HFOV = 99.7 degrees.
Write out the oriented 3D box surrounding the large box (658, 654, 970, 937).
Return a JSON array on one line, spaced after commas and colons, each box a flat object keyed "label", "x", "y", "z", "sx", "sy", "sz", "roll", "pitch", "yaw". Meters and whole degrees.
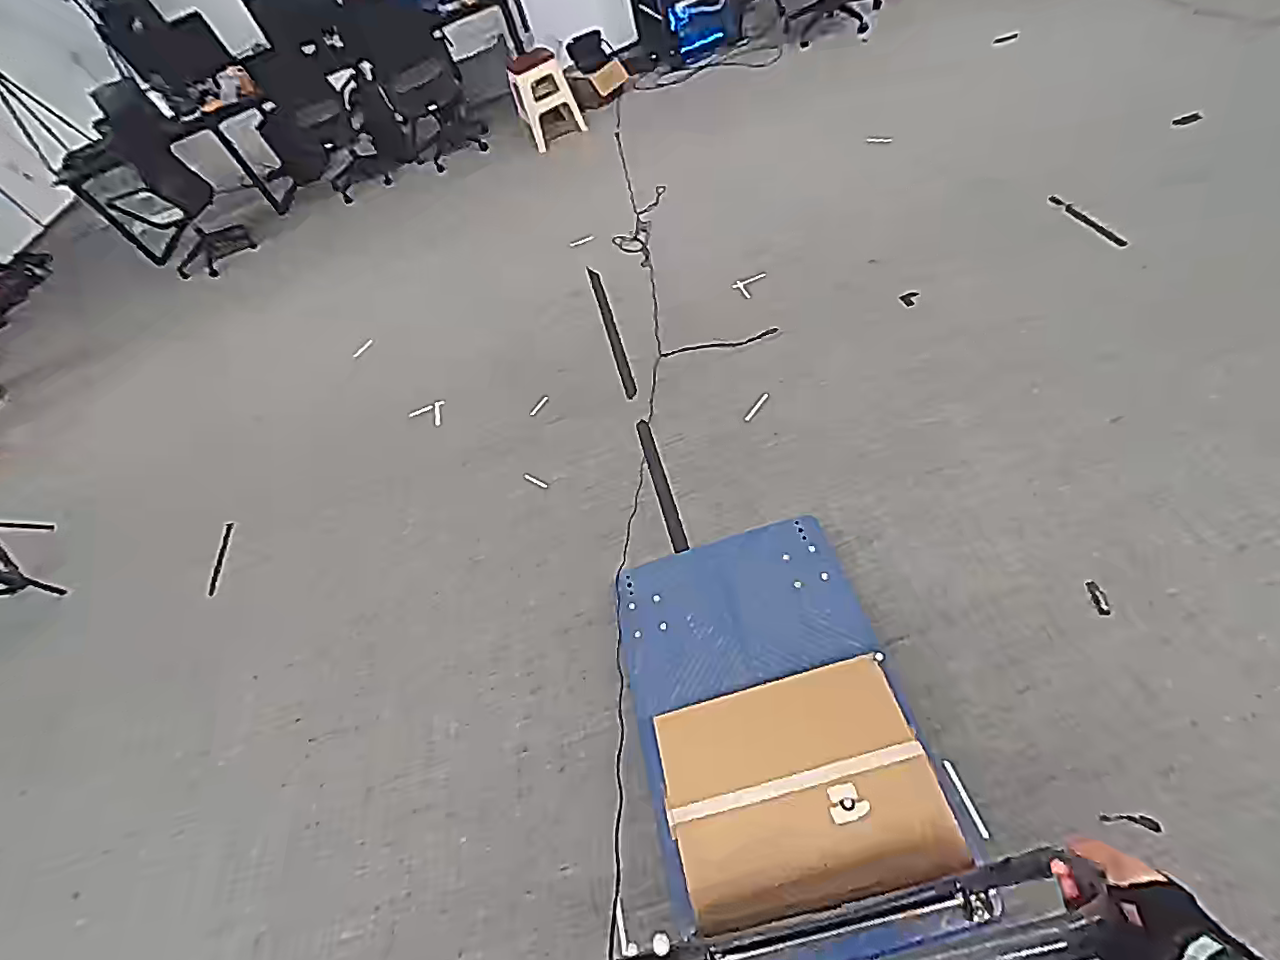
[{"label": "large box", "x": 0.285, "y": 0.569, "z": 0.977, "sx": 0.408, "sy": 0.320, "sz": 0.320, "roll": -19, "pitch": 51, "yaw": 4}]
